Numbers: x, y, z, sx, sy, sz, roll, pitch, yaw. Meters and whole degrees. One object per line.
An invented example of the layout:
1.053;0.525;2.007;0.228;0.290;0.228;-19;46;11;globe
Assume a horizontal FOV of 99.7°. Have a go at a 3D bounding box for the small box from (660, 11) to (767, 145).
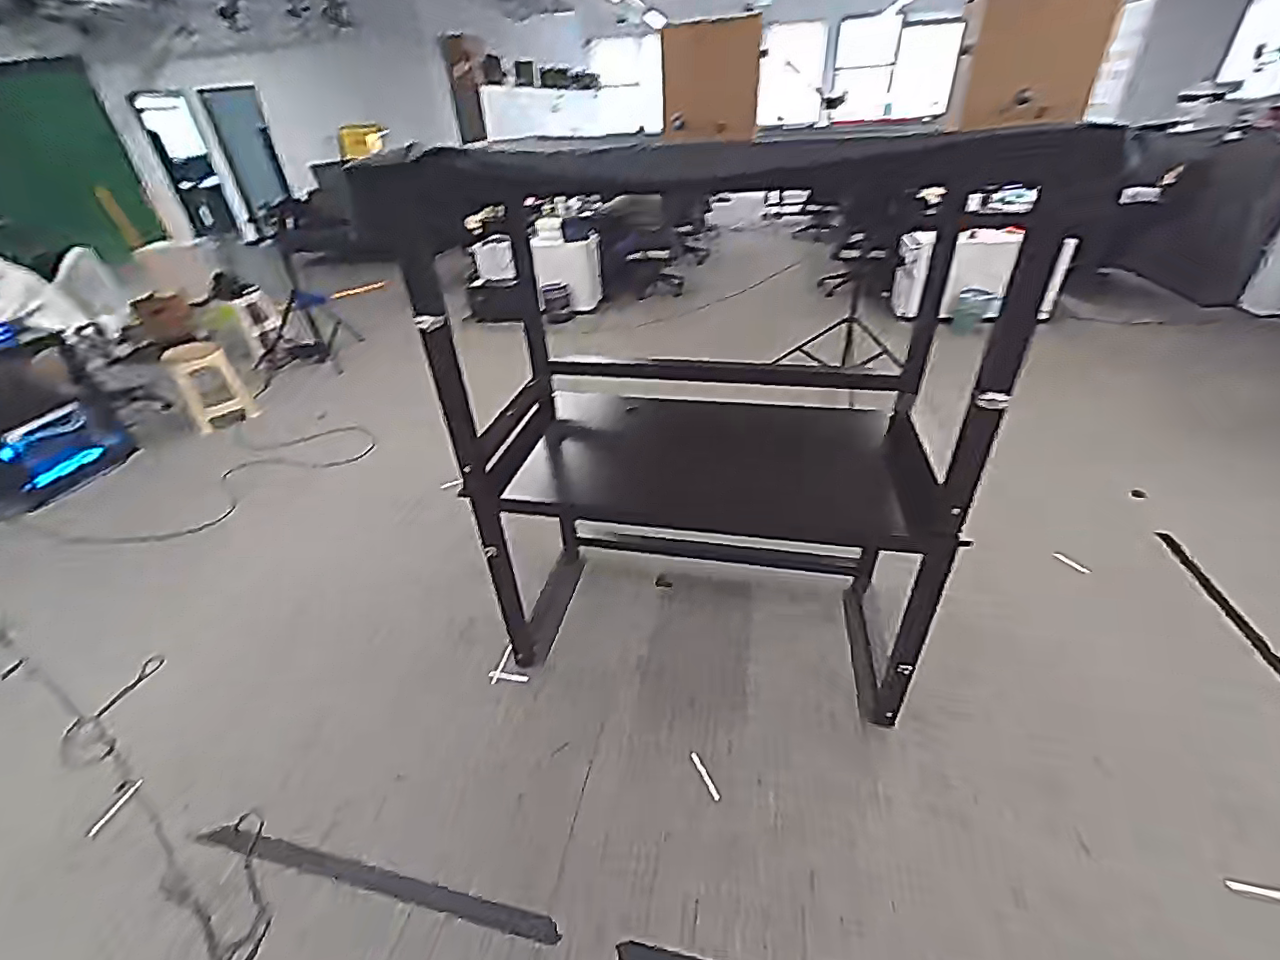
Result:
0.133;-0.696;0.954;0.168;0.176;0.179;4;33;11;small box
